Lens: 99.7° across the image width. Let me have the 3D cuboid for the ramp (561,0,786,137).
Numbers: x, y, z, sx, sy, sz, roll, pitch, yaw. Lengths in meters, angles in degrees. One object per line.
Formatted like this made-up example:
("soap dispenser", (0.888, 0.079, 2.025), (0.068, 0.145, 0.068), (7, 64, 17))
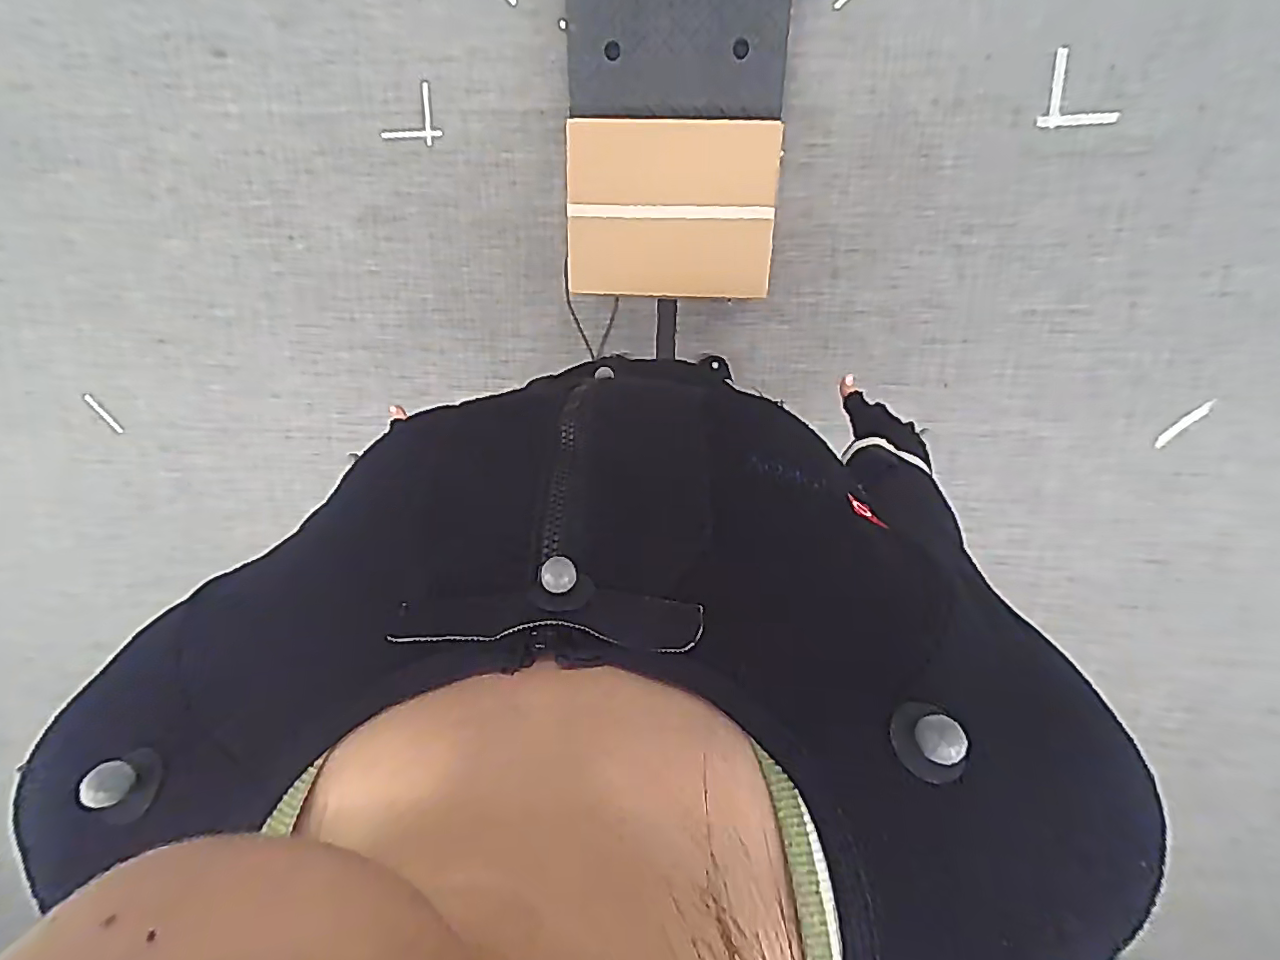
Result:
("ramp", (0.073, -1.160, 1.120), (0.509, 0.206, 0.991), (0, 104, 2))

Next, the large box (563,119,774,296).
("large box", (0.060, -0.575, 1.199), (0.408, 0.320, 0.320), (2, 107, 2))
